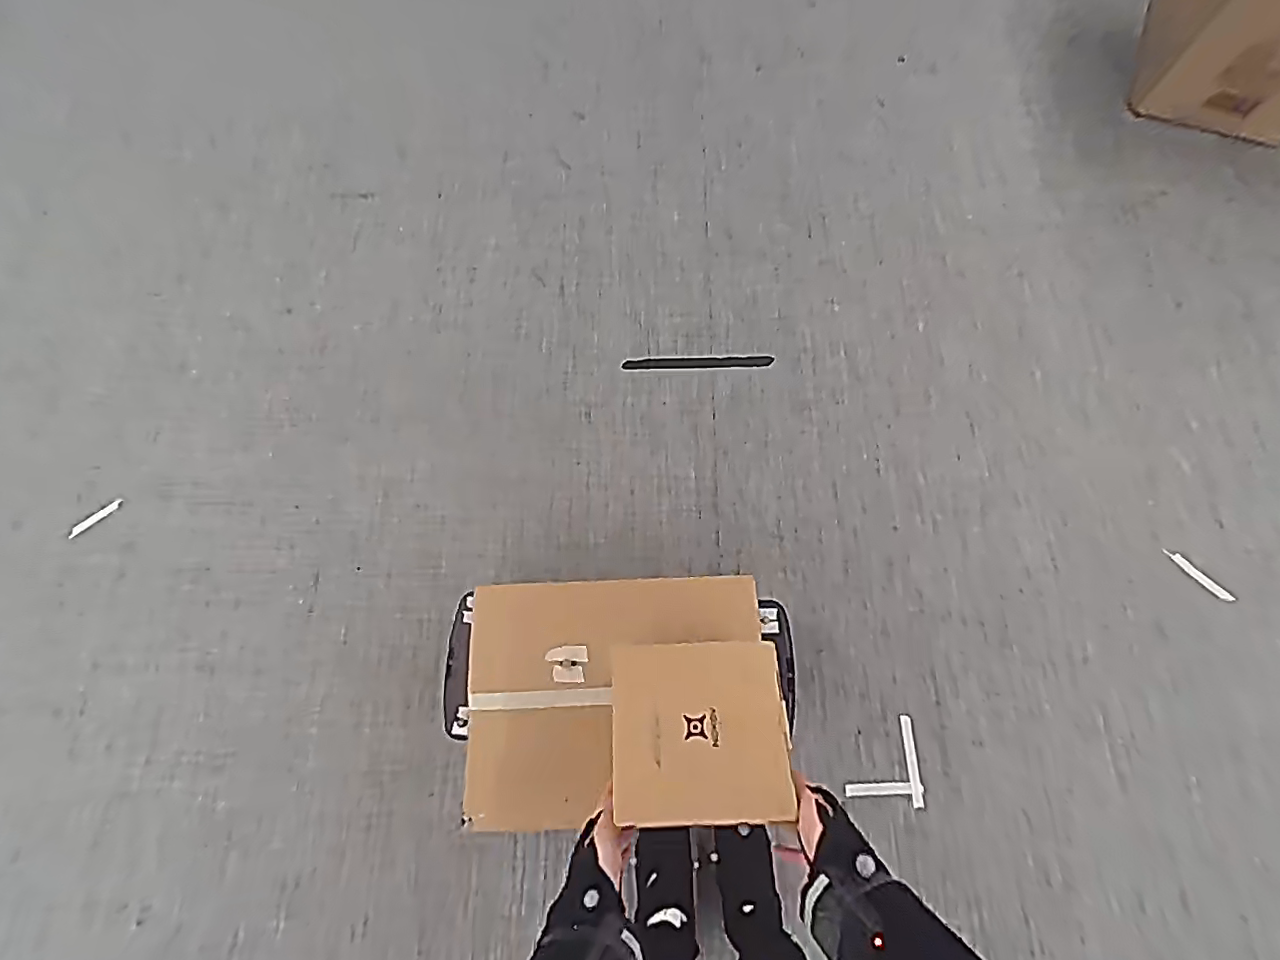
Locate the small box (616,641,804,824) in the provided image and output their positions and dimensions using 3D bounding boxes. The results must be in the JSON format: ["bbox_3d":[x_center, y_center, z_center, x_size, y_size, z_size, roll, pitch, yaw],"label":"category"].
[{"bbox_3d":[0.066,0.281,0.602,0.179,0.176,0.168,-2,60,2],"label":"small box"}]

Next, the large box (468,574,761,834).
[{"bbox_3d":[-0.021,0.333,0.866,0.408,0.320,0.320,-3,73,2],"label":"large box"}]
